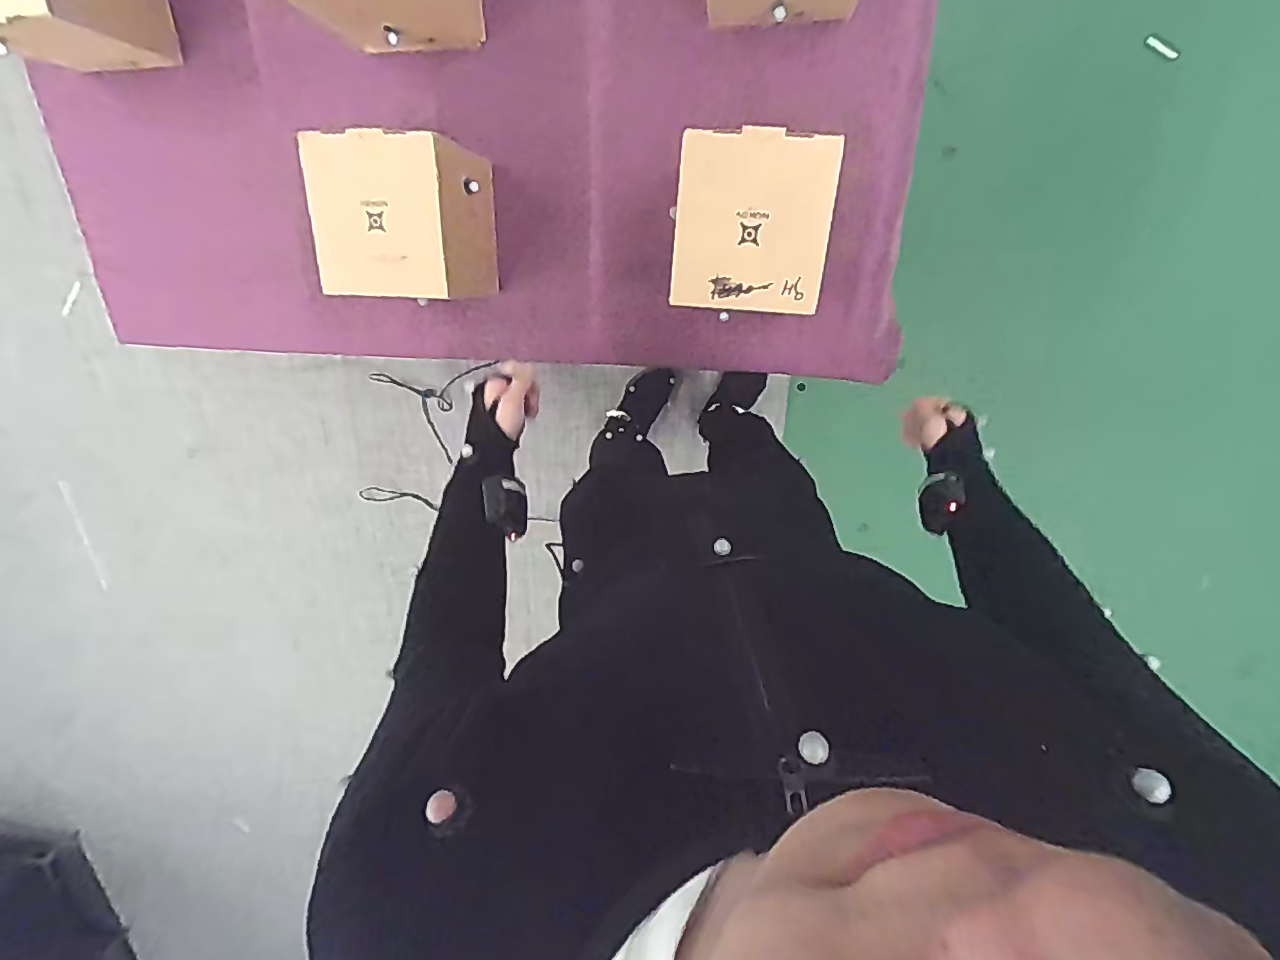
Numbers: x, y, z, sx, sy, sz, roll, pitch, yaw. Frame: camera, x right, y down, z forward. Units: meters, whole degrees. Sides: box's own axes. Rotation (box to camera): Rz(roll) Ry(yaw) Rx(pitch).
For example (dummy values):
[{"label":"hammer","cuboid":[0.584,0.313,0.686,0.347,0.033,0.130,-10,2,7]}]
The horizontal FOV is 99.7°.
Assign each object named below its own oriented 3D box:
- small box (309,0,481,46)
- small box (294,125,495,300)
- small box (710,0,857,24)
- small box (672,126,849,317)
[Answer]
[{"label":"small box","cuboid":[-0.286,-0.605,0.581,0.168,0.176,0.179,2,113,6]},{"label":"small box","cuboid":[-0.295,-0.328,0.689,0.168,0.176,0.179,5,111,6]},{"label":"small box","cuboid":[0.152,-0.589,0.529,0.168,0.176,0.179,4,112,8]},{"label":"small box","cuboid":[0.131,-0.295,0.647,0.168,0.176,0.179,7,109,6]}]
